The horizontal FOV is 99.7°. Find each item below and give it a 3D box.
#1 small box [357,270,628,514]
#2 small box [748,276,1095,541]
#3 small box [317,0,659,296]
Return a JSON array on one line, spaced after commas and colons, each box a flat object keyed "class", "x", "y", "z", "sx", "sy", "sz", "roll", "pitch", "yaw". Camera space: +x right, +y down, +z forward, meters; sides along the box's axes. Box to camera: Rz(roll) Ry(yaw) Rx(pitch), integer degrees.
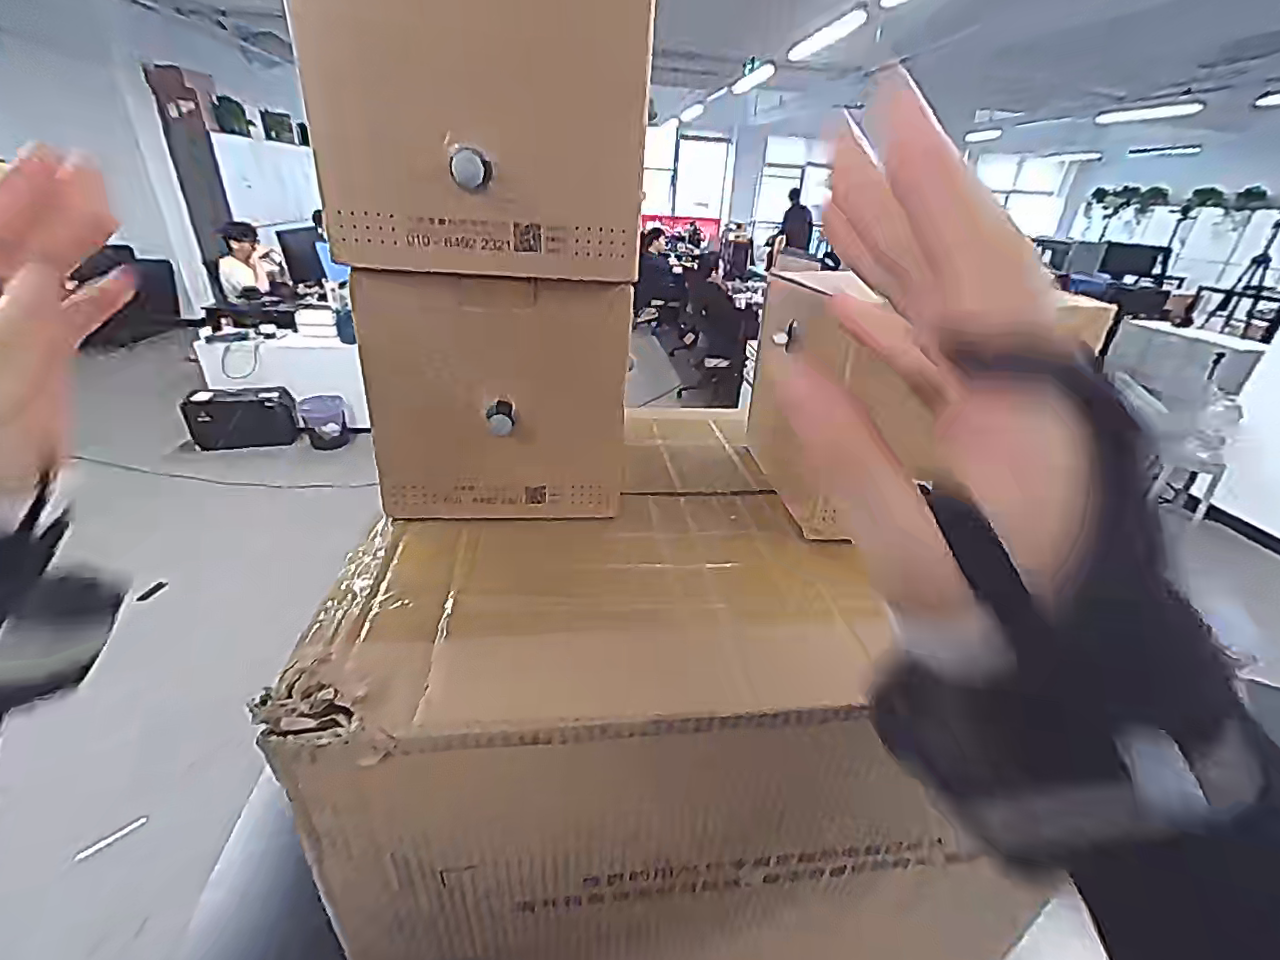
[{"class": "small box", "x": -0.101, "y": -0.082, "z": 0.436, "sx": 0.168, "sy": 0.176, "sz": 0.179, "roll": 0, "pitch": 27, "yaw": -9}, {"class": "small box", "x": 0.194, "y": -0.066, "z": 0.440, "sx": 0.168, "sy": 0.176, "sz": 0.179, "roll": -2, "pitch": 28, "yaw": -5}, {"class": "small box", "x": -0.085, "y": -0.222, "z": 0.347, "sx": 0.168, "sy": 0.176, "sz": 0.179, "roll": 0, "pitch": 27, "yaw": -7}]
